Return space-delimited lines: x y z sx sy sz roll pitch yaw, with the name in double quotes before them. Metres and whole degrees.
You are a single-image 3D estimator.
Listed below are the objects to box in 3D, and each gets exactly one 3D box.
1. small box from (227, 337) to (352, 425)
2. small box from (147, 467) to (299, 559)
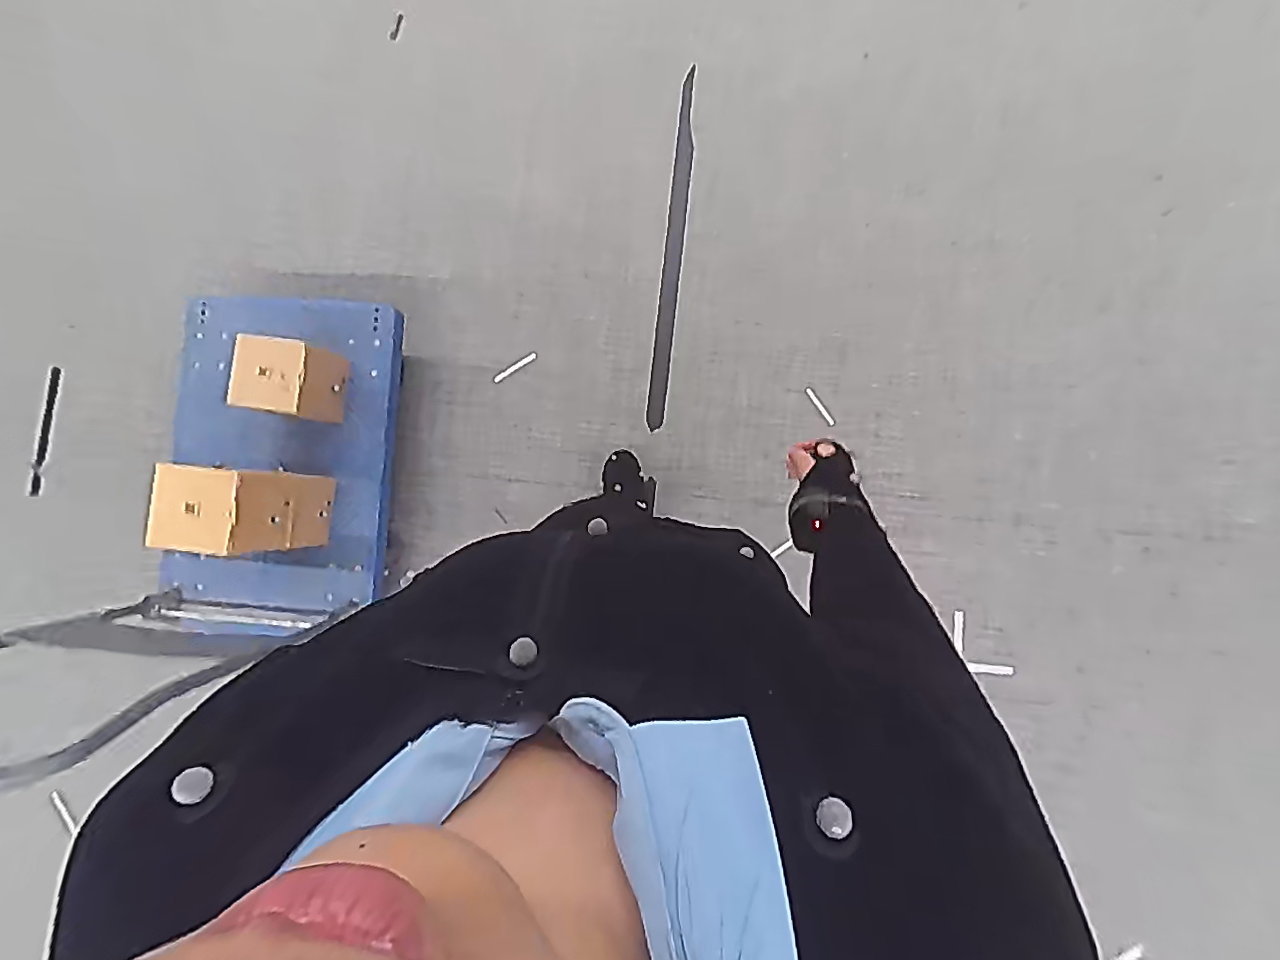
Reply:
"small box" -0.836 -0.231 1.304 0.179 0.176 0.168 8 88 4
"small box" -0.860 0.068 1.128 0.179 0.176 0.168 5 87 3
